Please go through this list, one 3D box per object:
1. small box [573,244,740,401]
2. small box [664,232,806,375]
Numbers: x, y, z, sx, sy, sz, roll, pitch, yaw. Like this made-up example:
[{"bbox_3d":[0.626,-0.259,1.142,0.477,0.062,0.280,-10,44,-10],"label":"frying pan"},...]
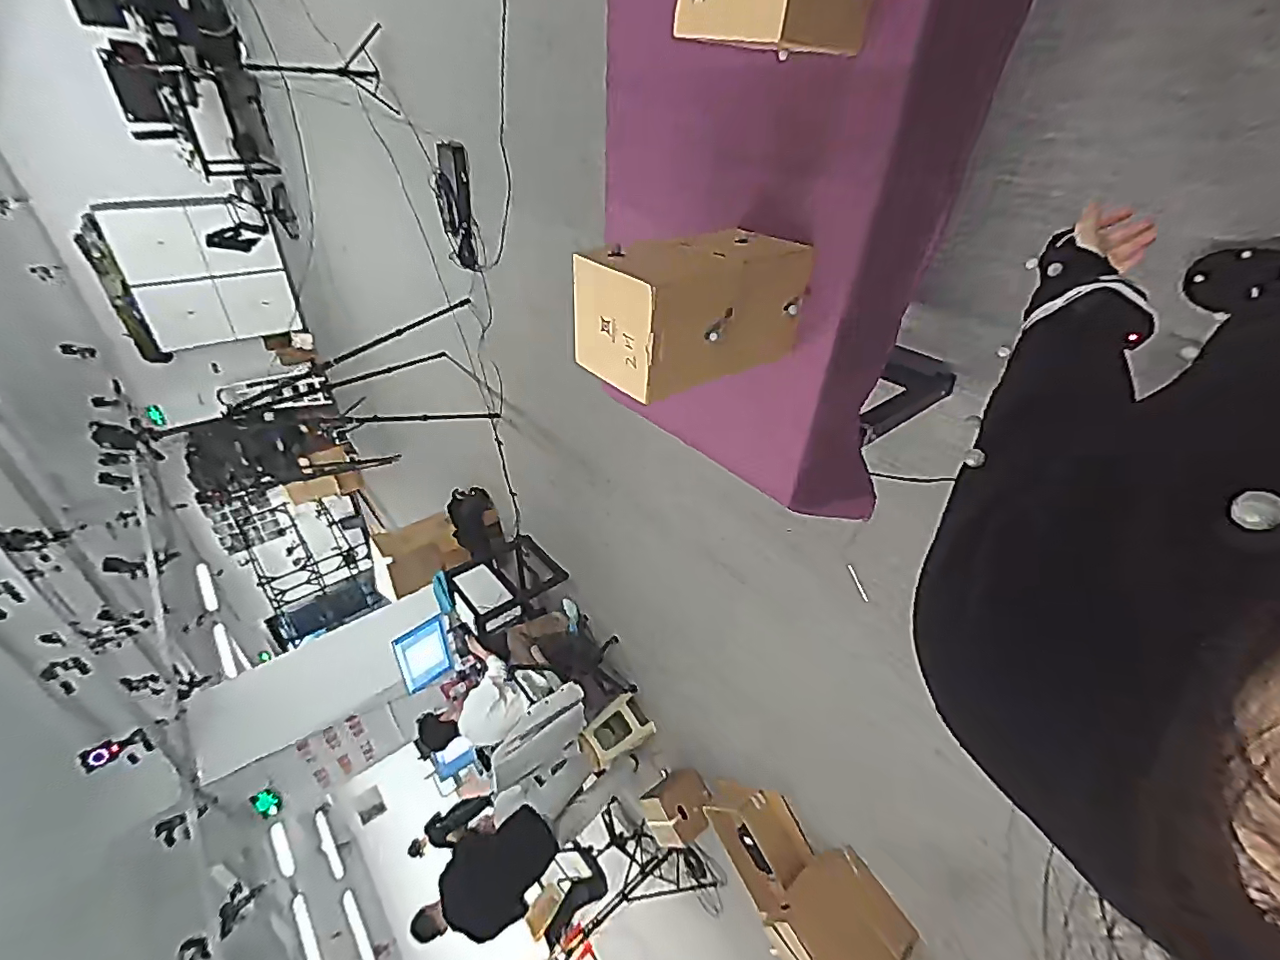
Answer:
[{"bbox_3d":[0.019,-0.241,0.799,0.179,0.176,0.168,36,138,36],"label":"small box"},{"bbox_3d":[0.147,-0.298,0.887,0.168,0.176,0.179,35,136,37],"label":"small box"}]
